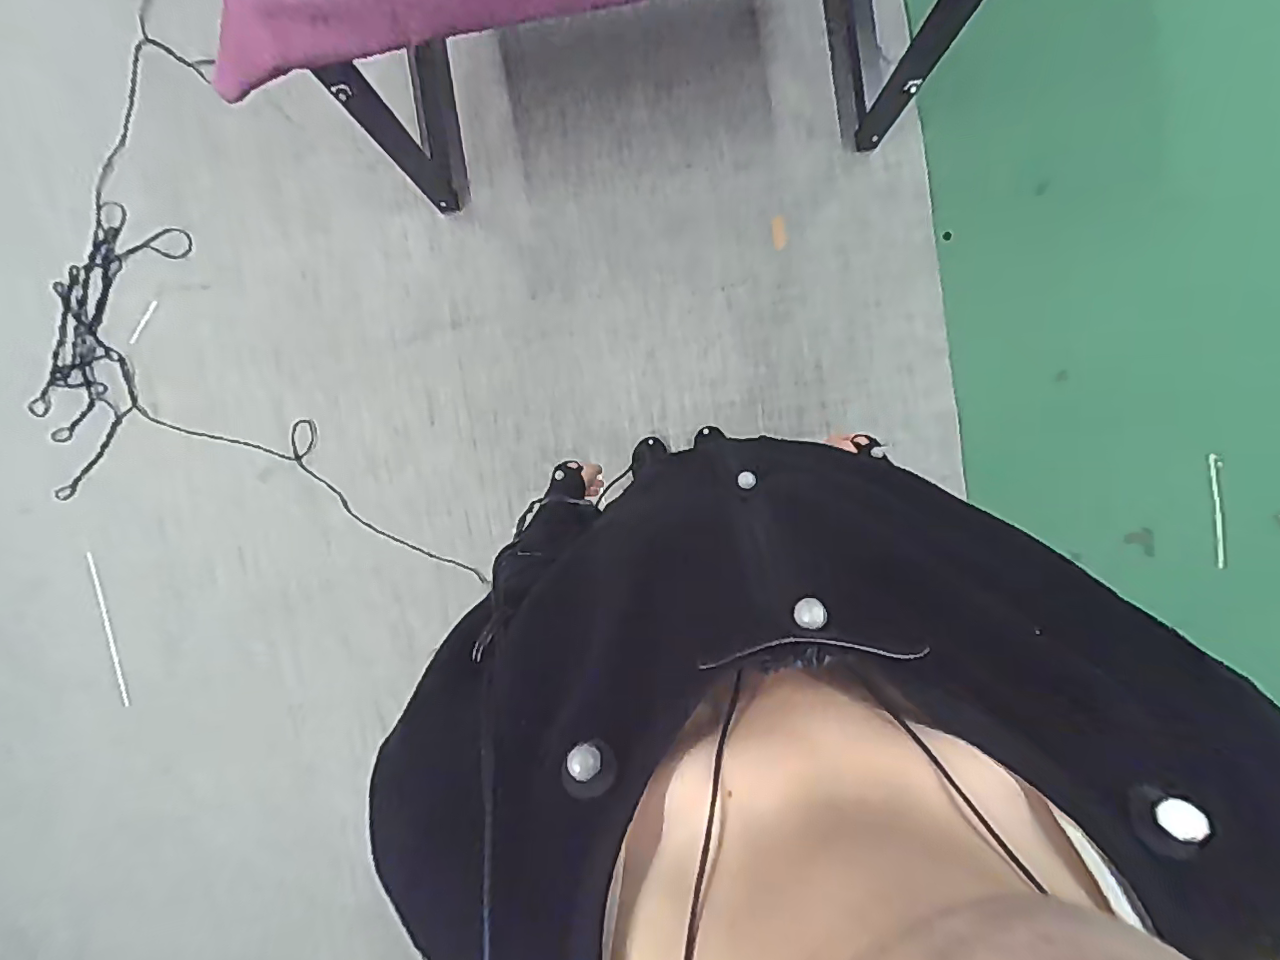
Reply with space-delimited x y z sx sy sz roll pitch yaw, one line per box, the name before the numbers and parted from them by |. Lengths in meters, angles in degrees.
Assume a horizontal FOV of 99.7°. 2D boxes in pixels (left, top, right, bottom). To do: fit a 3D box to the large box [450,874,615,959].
large box | -0.304 1.357 1.457 0.408 0.320 0.320 14 95 0
